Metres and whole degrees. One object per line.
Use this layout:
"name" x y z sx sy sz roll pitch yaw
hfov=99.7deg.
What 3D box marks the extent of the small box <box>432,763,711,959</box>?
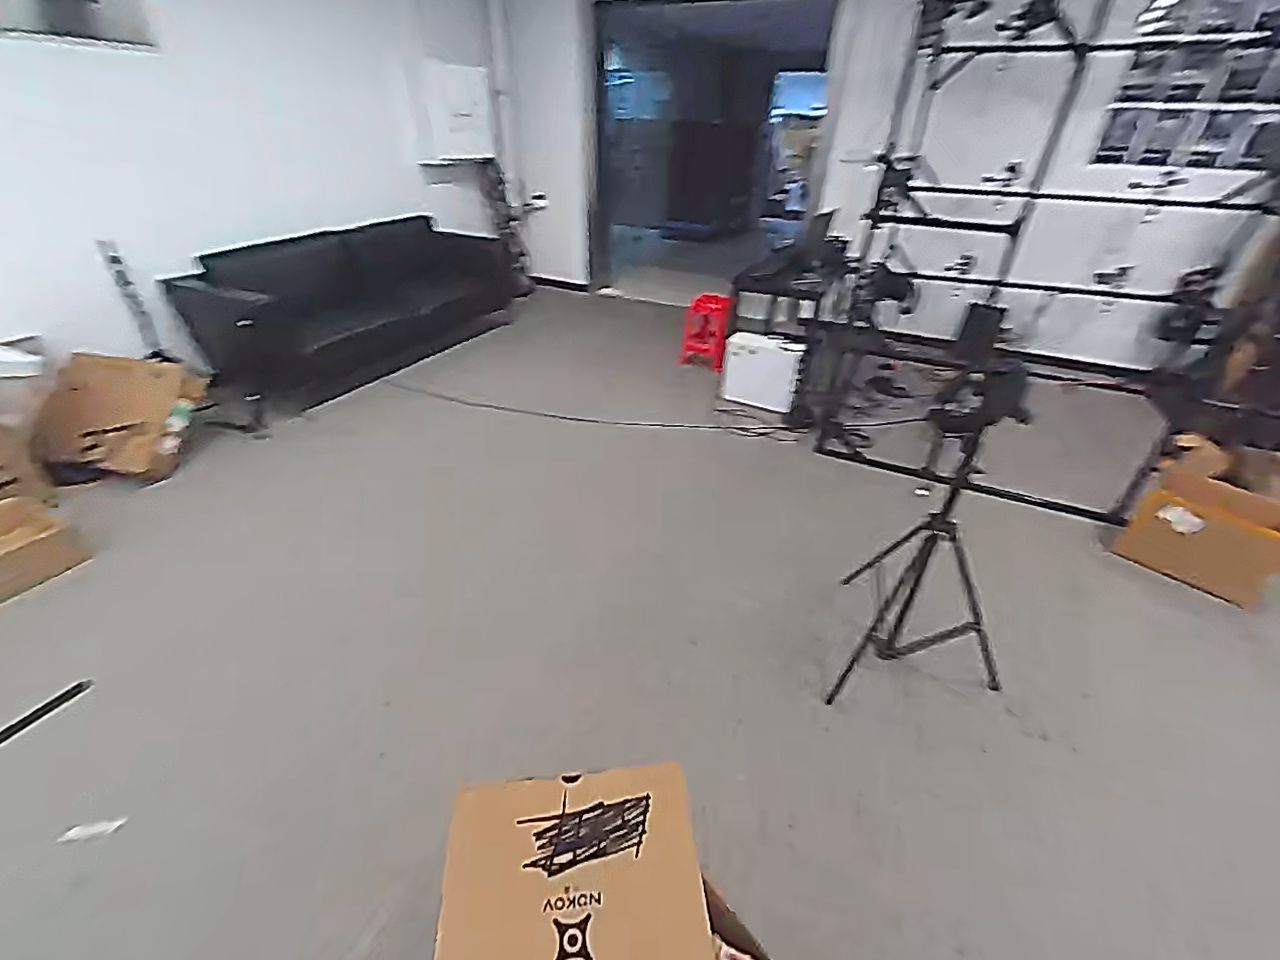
"small box" -0.043 0.333 0.379 0.168 0.176 0.179 -6 40 -6
